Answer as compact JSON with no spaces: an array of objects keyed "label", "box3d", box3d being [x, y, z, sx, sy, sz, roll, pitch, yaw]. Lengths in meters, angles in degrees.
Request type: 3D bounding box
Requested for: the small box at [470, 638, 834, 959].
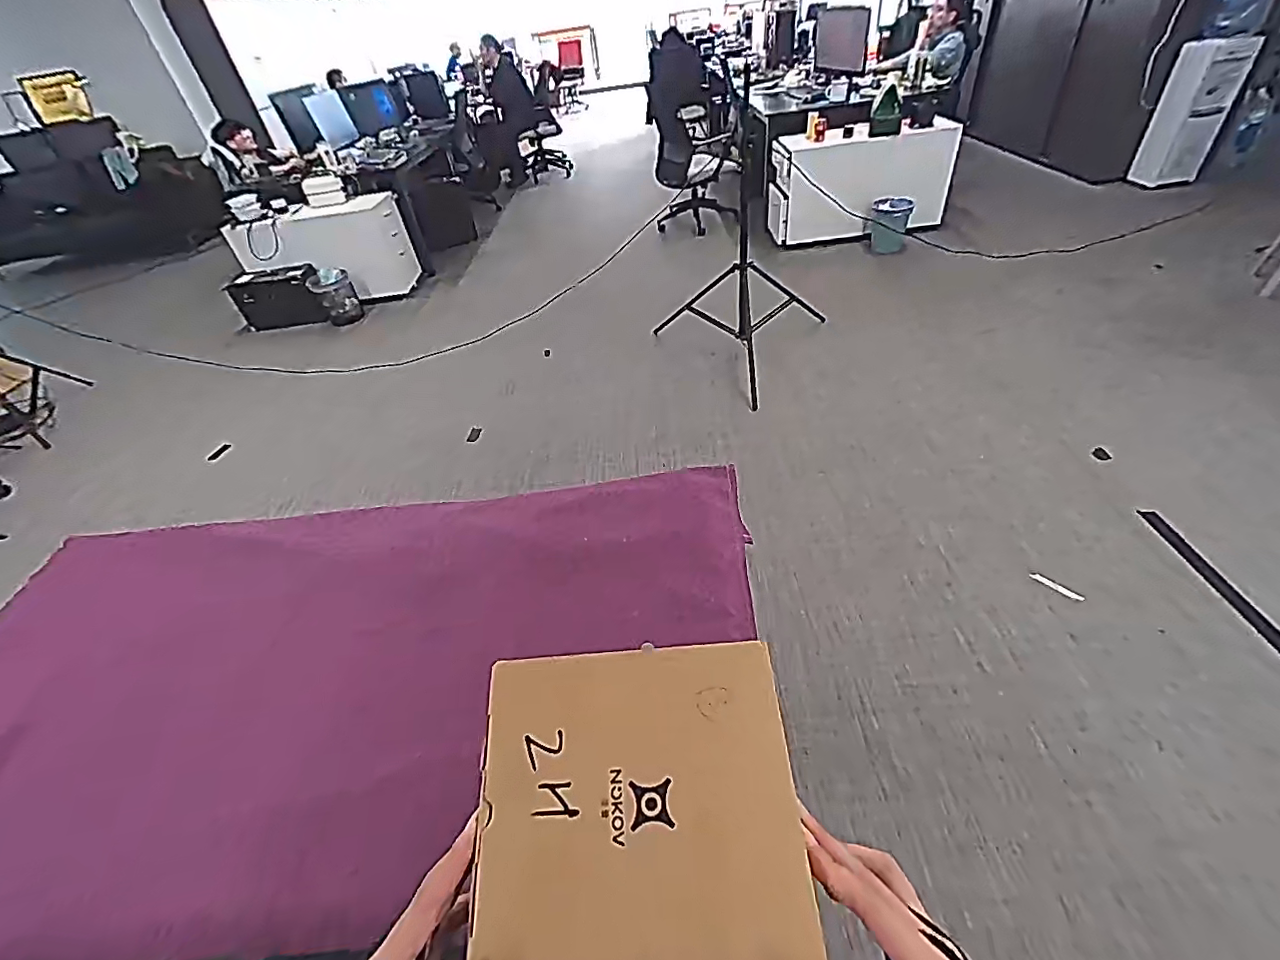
[{"label":"small box","box3d":[0.005,0.214,0.360,0.179,0.176,0.168,-5,56,1]}]
